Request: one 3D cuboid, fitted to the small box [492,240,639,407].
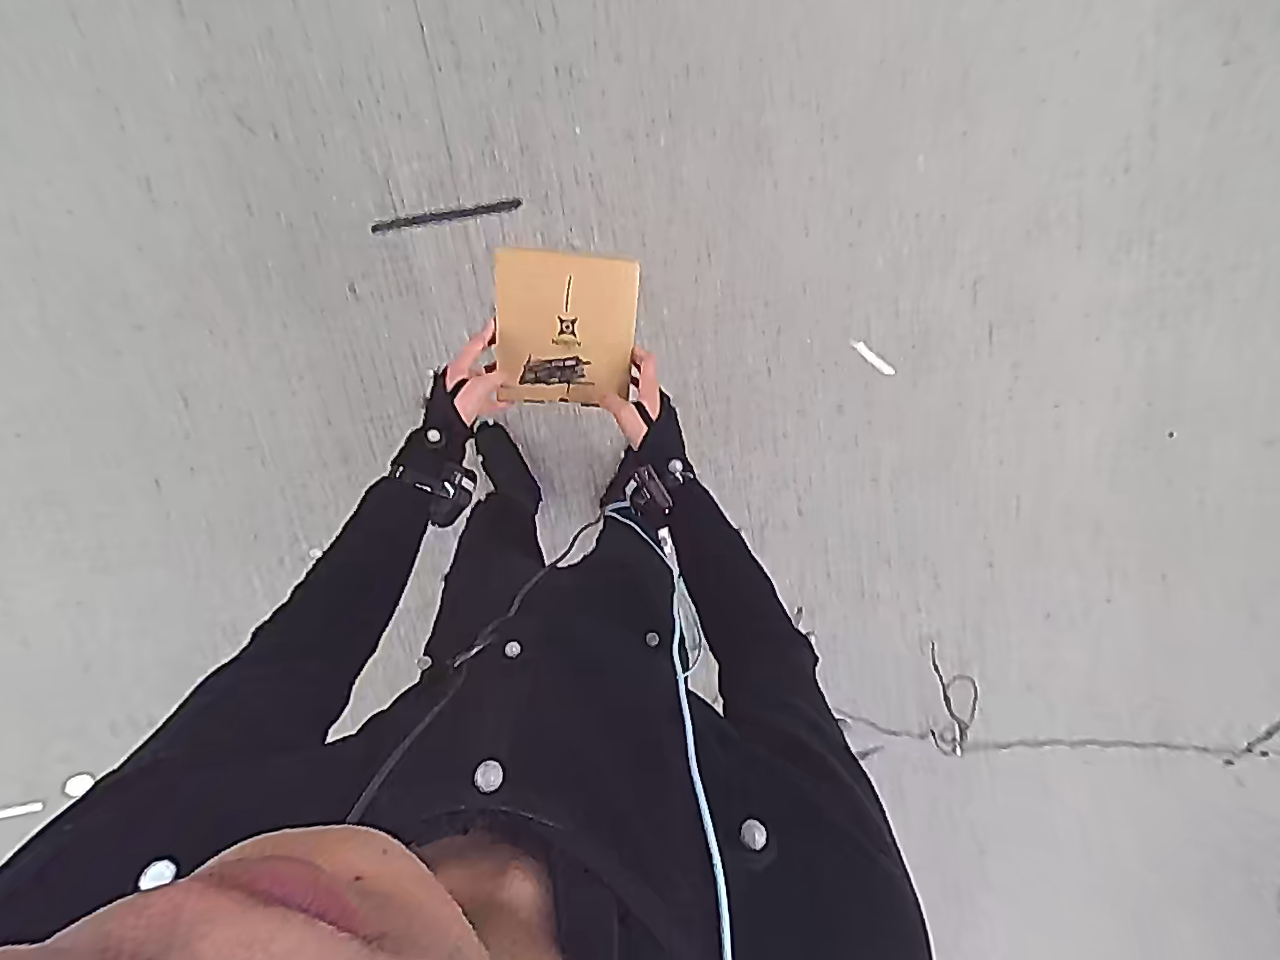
[{"bbox_3d":[-0.097,-0.209,0.706,0.168,0.176,0.179,3,115,-8],"label":"small box"}]
